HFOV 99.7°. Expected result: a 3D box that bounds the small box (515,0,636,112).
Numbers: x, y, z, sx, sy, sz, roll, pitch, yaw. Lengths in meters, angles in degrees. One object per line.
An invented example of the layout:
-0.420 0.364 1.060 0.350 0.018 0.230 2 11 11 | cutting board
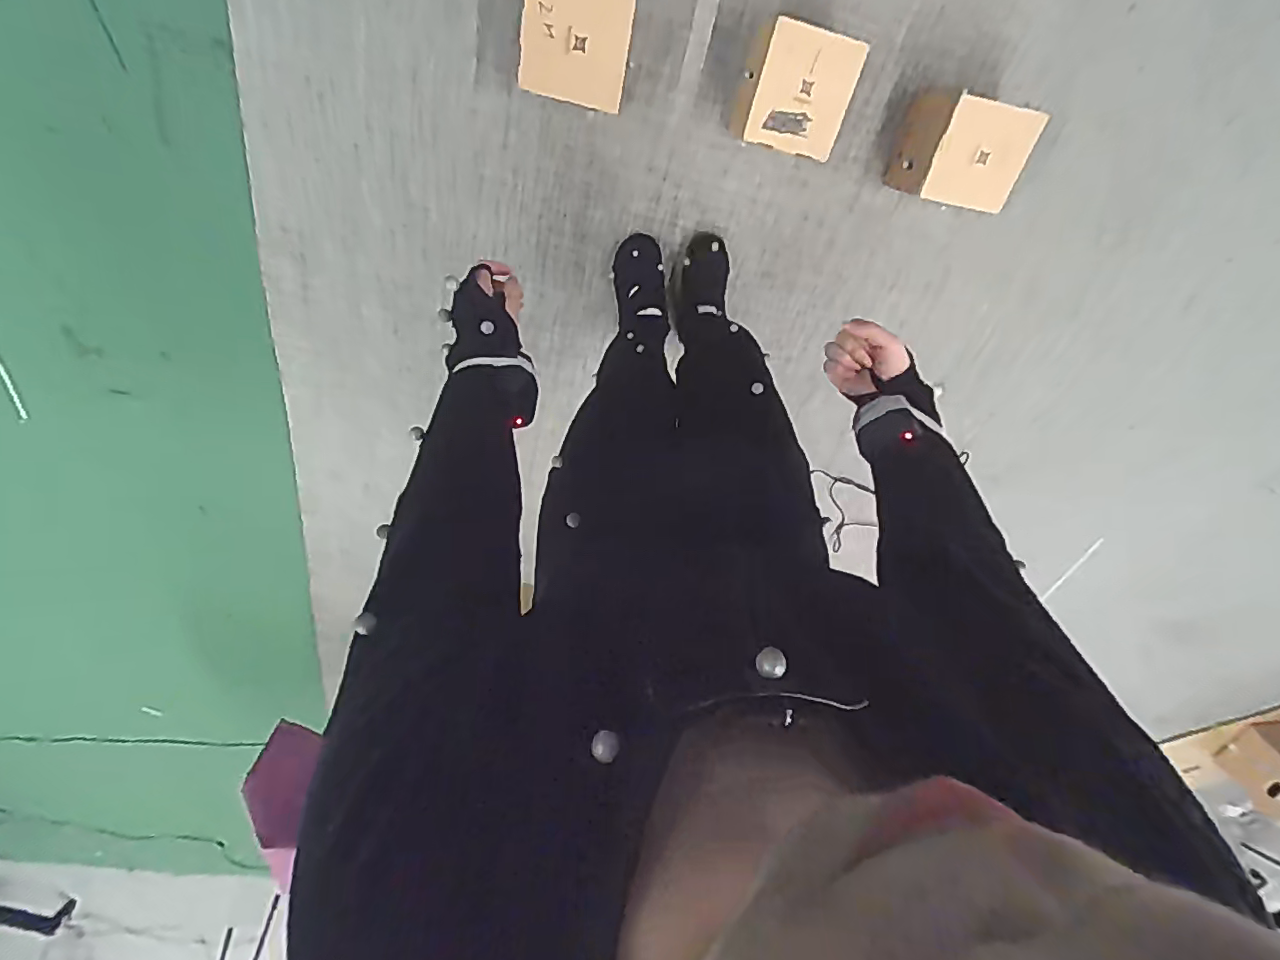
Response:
-0.110 -0.763 0.941 0.179 0.176 0.168 10 125 -9 | small box

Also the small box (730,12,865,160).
0.272 -0.712 0.989 0.168 0.176 0.179 10 125 -9 | small box

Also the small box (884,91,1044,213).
0.613 -0.640 1.054 0.179 0.176 0.168 8 126 -8 | small box
